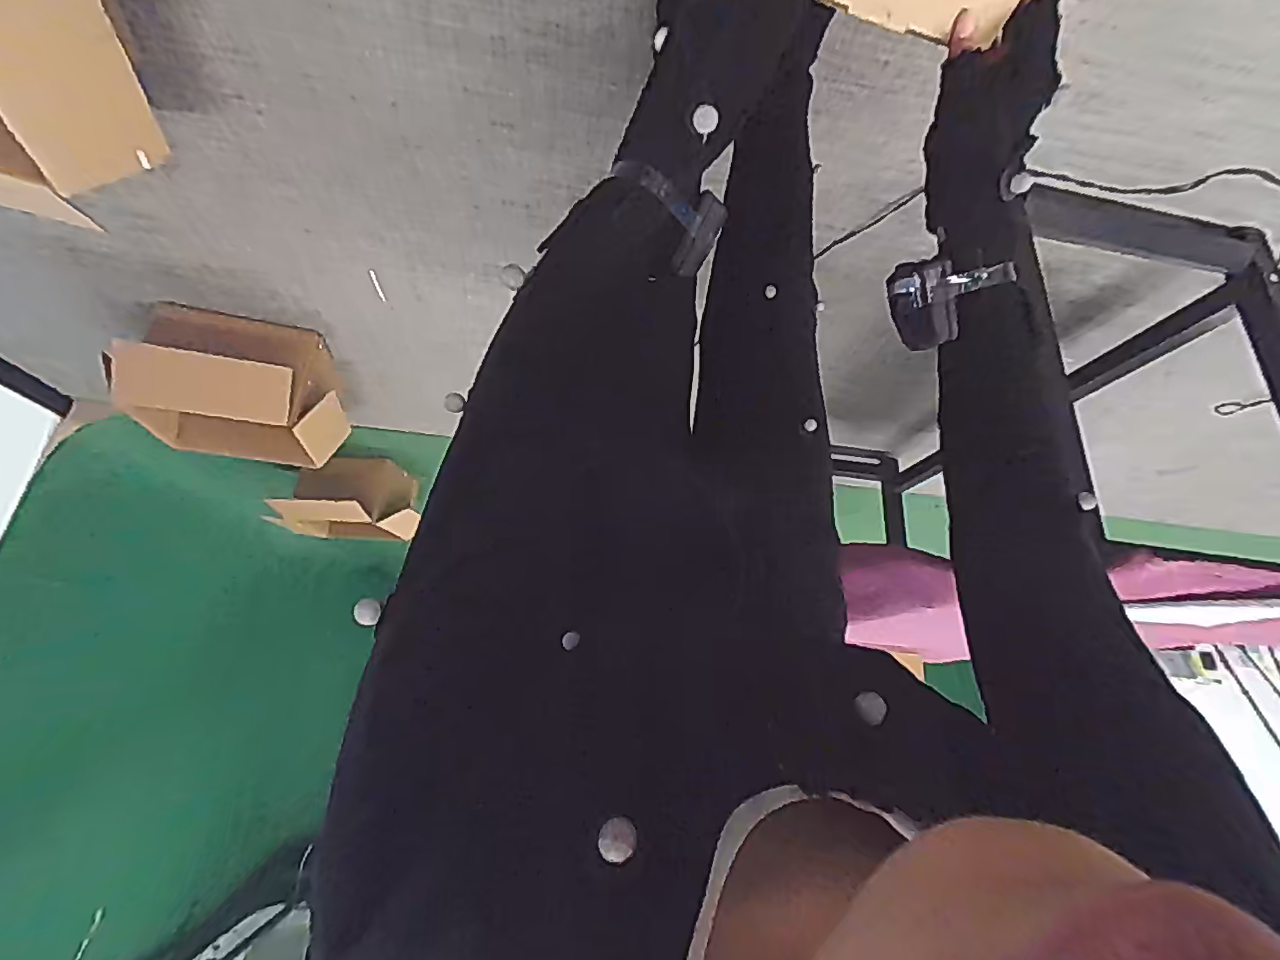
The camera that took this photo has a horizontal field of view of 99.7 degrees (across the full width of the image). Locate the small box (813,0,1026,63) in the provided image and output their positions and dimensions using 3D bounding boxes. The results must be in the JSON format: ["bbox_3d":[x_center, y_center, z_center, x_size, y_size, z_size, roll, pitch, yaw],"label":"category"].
[{"bbox_3d":[0.181,-0.414,0.335,0.168,0.176,0.179,9,144,-12],"label":"small box"}]

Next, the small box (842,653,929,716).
[{"bbox_3d":[0.738,0.618,1.641,0.179,0.176,0.168,9,157,-13],"label":"small box"}]
